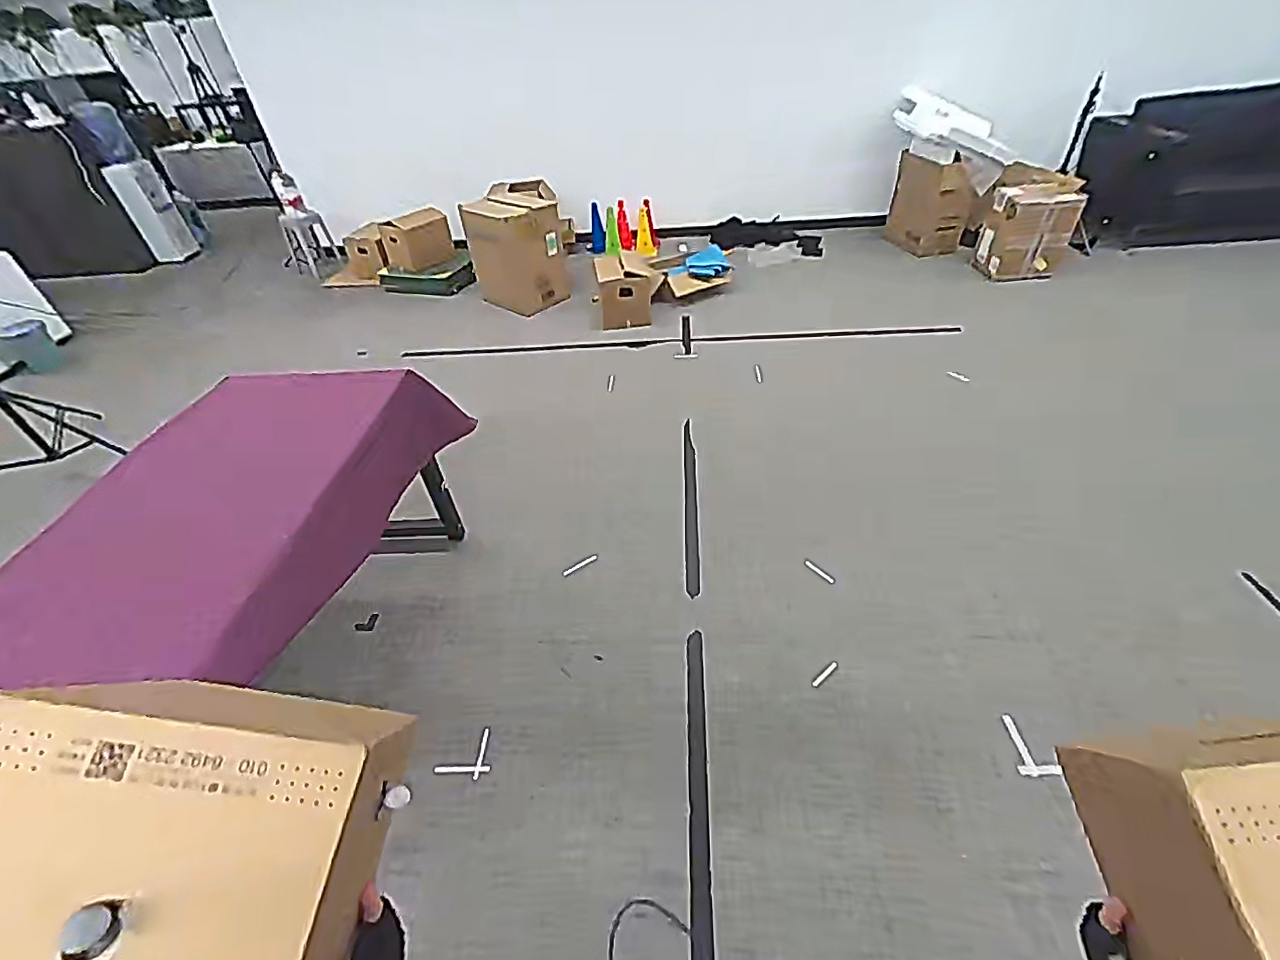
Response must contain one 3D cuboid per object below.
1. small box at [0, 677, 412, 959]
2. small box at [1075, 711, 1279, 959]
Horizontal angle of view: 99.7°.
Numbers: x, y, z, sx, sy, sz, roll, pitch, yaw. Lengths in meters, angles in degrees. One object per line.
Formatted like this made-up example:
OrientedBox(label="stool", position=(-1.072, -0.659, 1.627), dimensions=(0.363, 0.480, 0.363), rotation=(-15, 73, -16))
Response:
OrientedBox(label="small box", position=(-0.240, 0.205, 0.290), dimensions=(0.168, 0.179, 0.176), rotation=(14, 68, -9))
OrientedBox(label="small box", position=(0.387, 0.227, 0.294), dimensions=(0.168, 0.179, 0.176), rotation=(-13, 67, 14))
